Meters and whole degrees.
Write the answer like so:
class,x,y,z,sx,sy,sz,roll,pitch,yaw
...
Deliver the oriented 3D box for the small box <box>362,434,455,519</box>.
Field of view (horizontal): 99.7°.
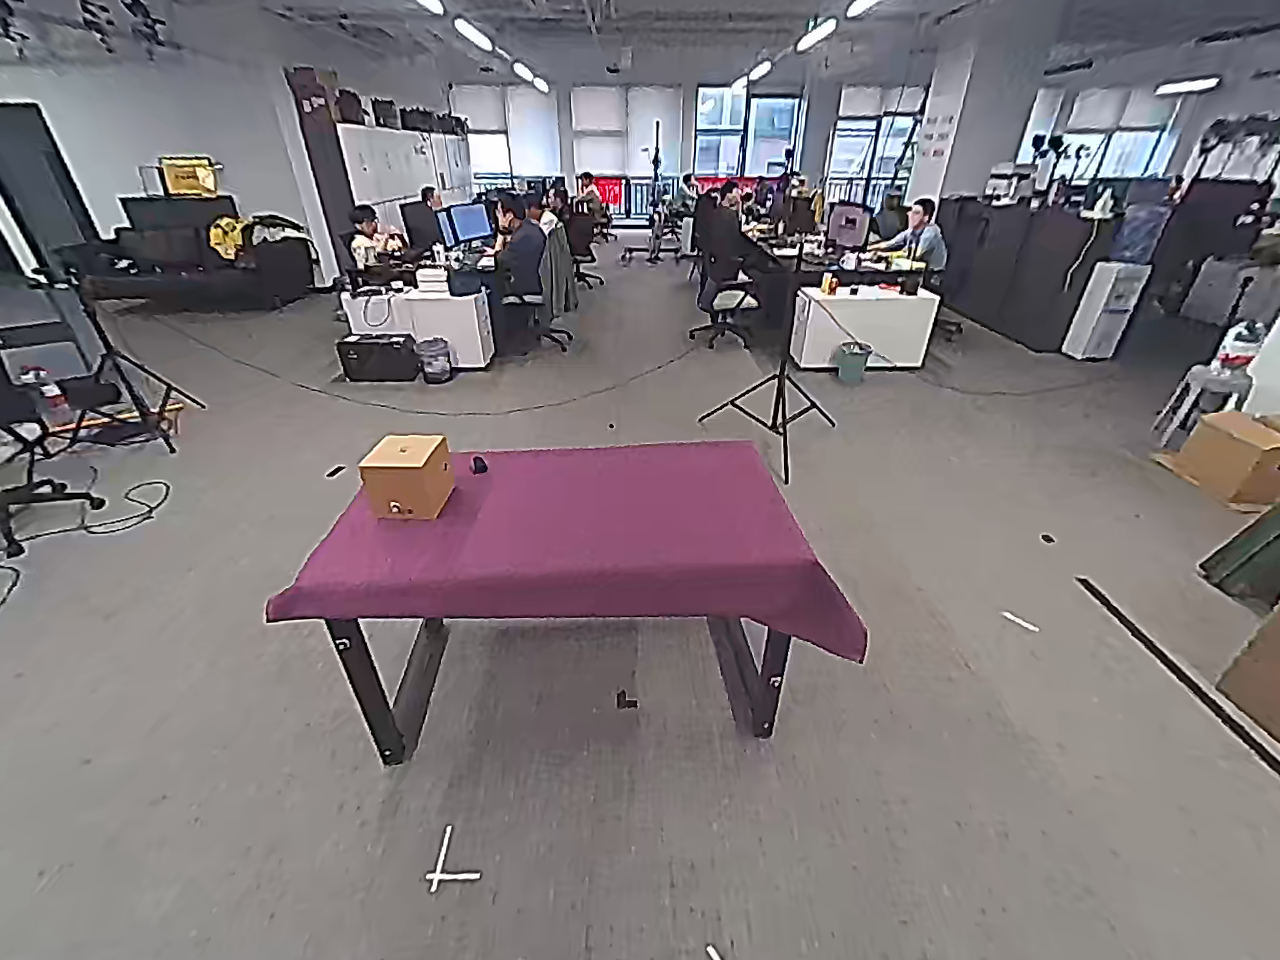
class,x,y,z,sx,sy,sz,roll,pitch,yaw
small box,-0.617,-0.011,1.468,0.168,0.176,0.179,0,32,2
